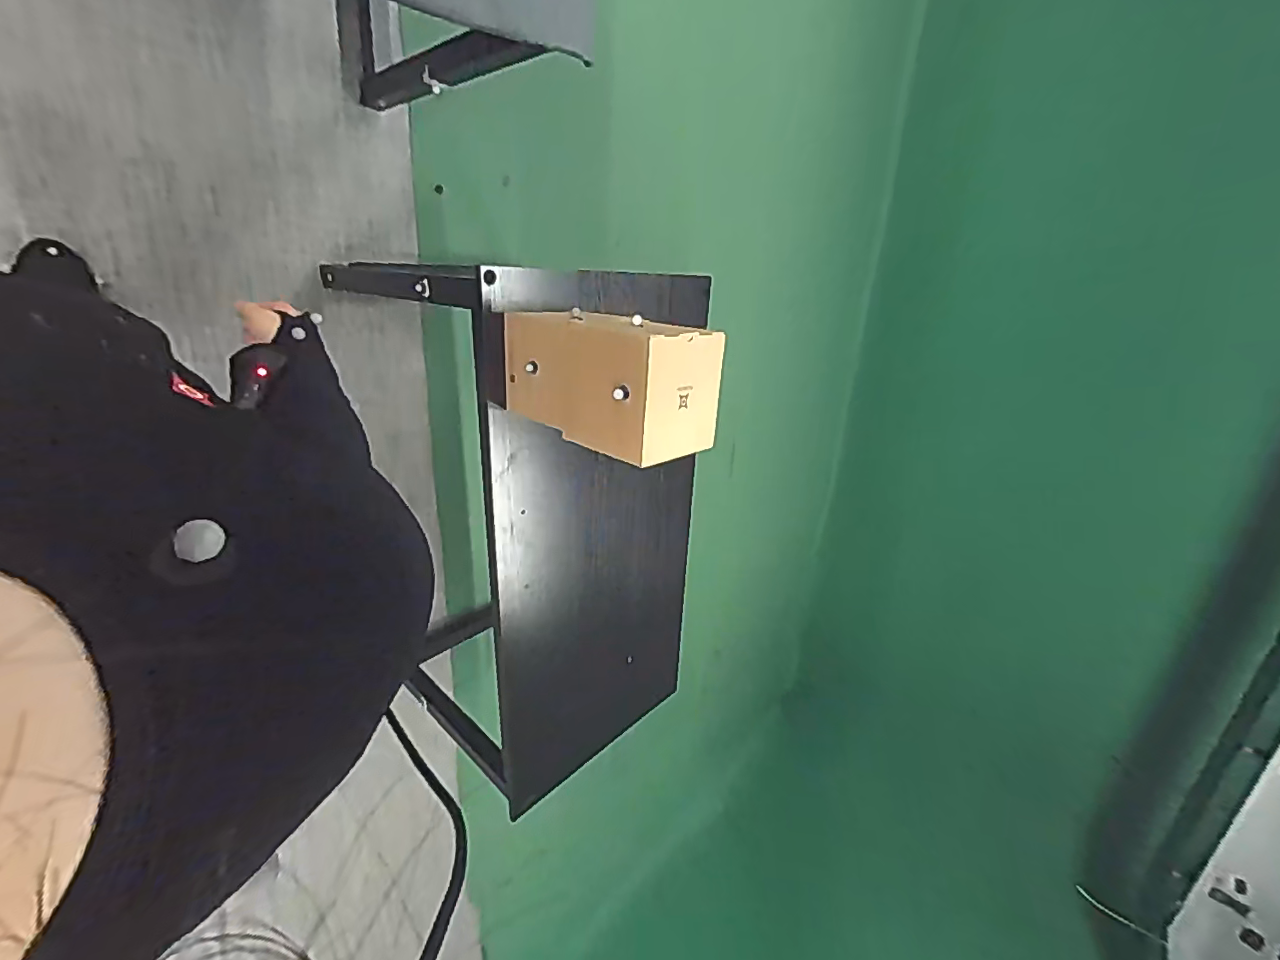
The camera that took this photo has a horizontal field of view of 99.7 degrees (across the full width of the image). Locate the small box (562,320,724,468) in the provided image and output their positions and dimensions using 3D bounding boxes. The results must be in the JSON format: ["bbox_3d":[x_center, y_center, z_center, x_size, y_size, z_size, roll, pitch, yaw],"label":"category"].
[{"bbox_3d":[-0.002,-0.136,0.793,0.168,0.176,0.179,-18,119,-44],"label":"small box"}]

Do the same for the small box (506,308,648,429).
[{"bbox_3d":[-0.109,-0.192,0.903,0.179,0.176,0.168,-18,121,-44],"label":"small box"}]
